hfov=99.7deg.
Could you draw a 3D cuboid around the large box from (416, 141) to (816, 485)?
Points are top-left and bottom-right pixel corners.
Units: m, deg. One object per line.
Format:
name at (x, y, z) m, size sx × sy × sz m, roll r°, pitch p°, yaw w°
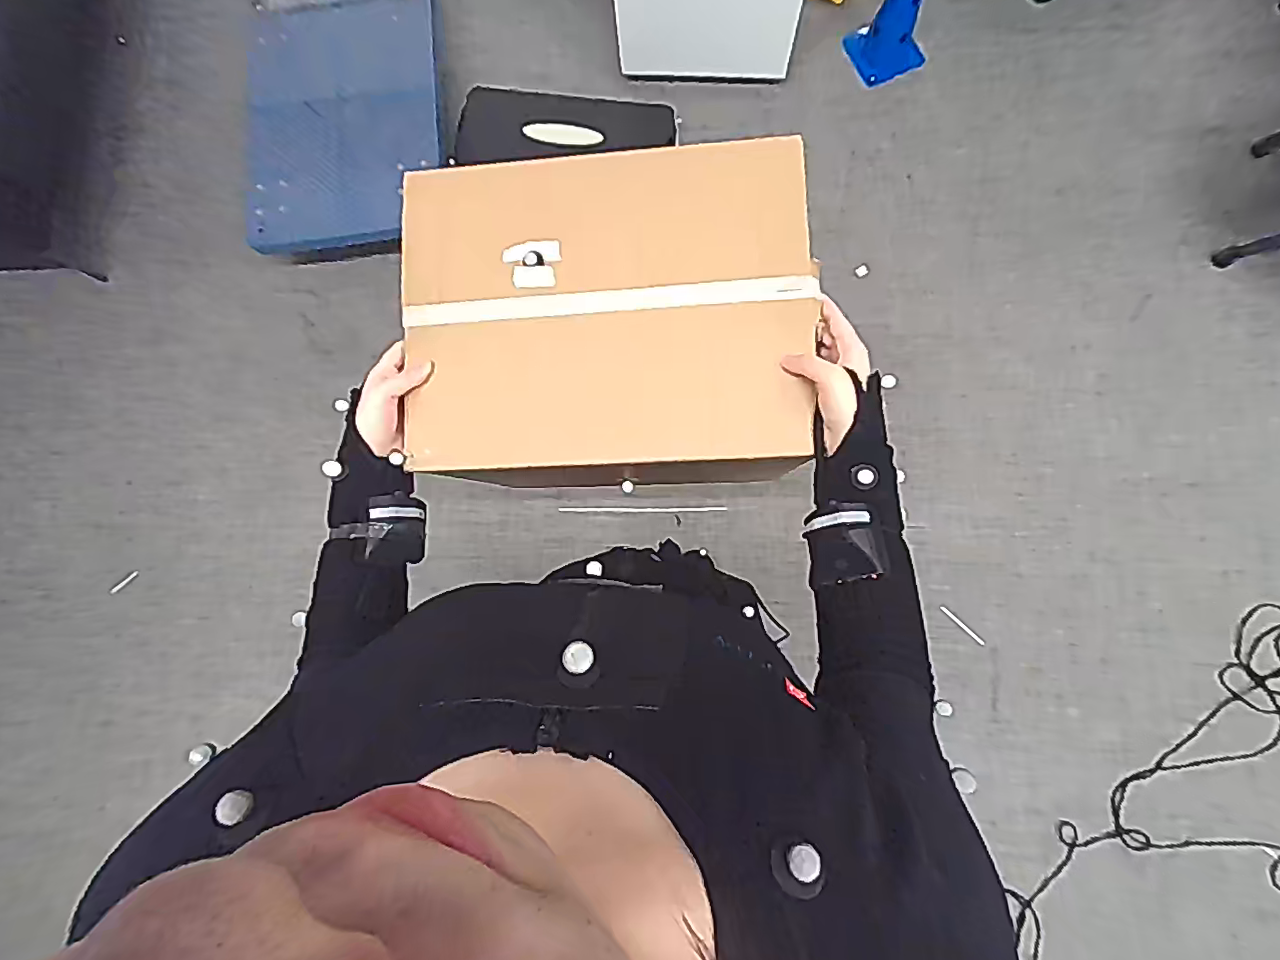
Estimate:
large box at (-0.017, -0.162, 0.691) m, size 0.408 × 0.320 × 0.320 m, roll -2°, pitch 85°, yaw 7°
